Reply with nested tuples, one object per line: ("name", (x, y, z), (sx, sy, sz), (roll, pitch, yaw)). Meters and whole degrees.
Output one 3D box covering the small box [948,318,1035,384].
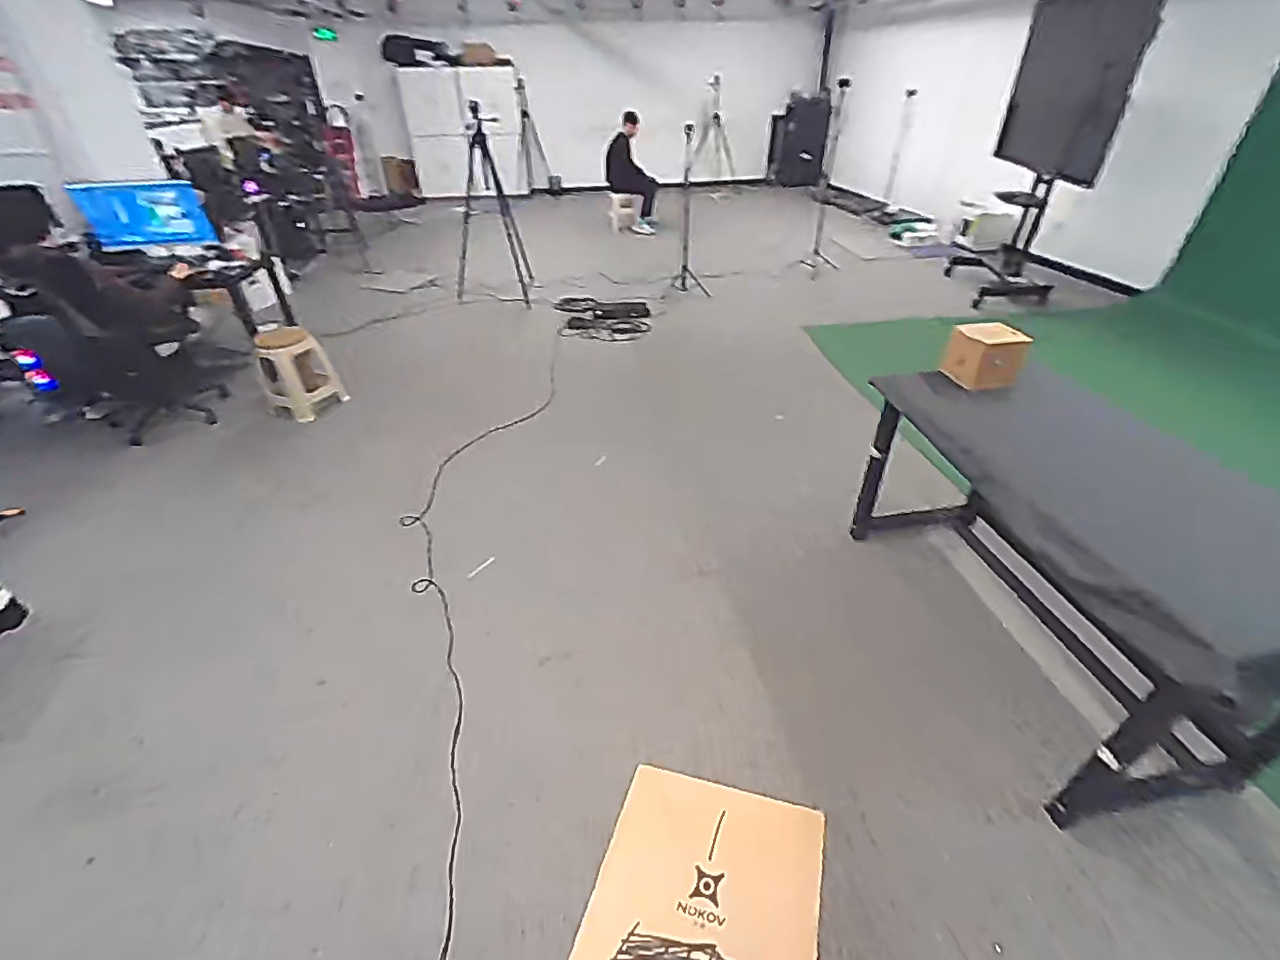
("small box", (1.185, -0.438, 1.846), (0.179, 0.176, 0.168), (-7, 39, -6))
